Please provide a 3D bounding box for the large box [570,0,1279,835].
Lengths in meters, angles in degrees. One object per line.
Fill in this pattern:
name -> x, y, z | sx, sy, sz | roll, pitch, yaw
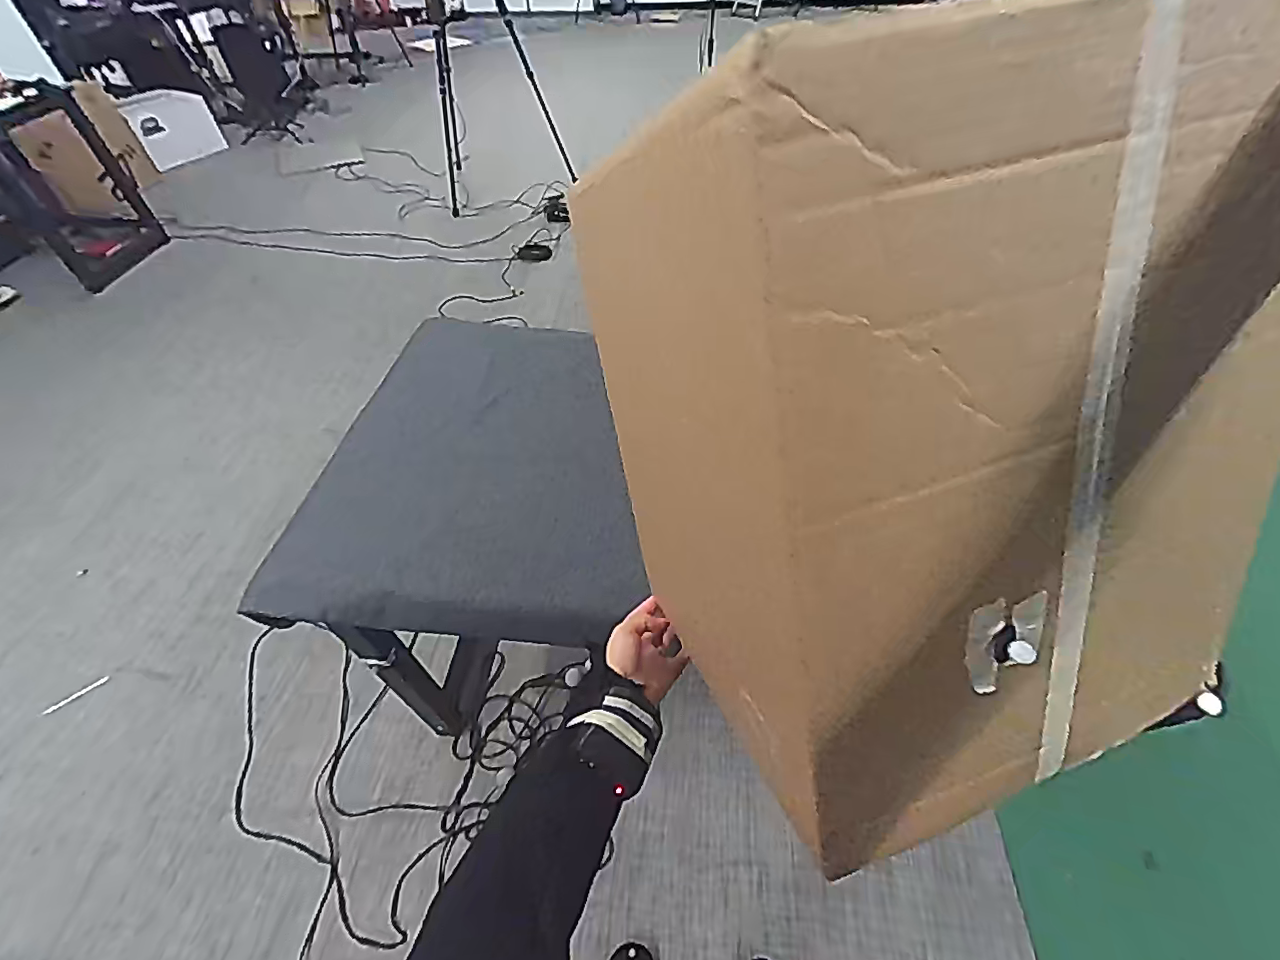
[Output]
large box -> 0.169, -0.049, 0.419 | 0.320, 0.408, 0.320 | -18, 26, -12
